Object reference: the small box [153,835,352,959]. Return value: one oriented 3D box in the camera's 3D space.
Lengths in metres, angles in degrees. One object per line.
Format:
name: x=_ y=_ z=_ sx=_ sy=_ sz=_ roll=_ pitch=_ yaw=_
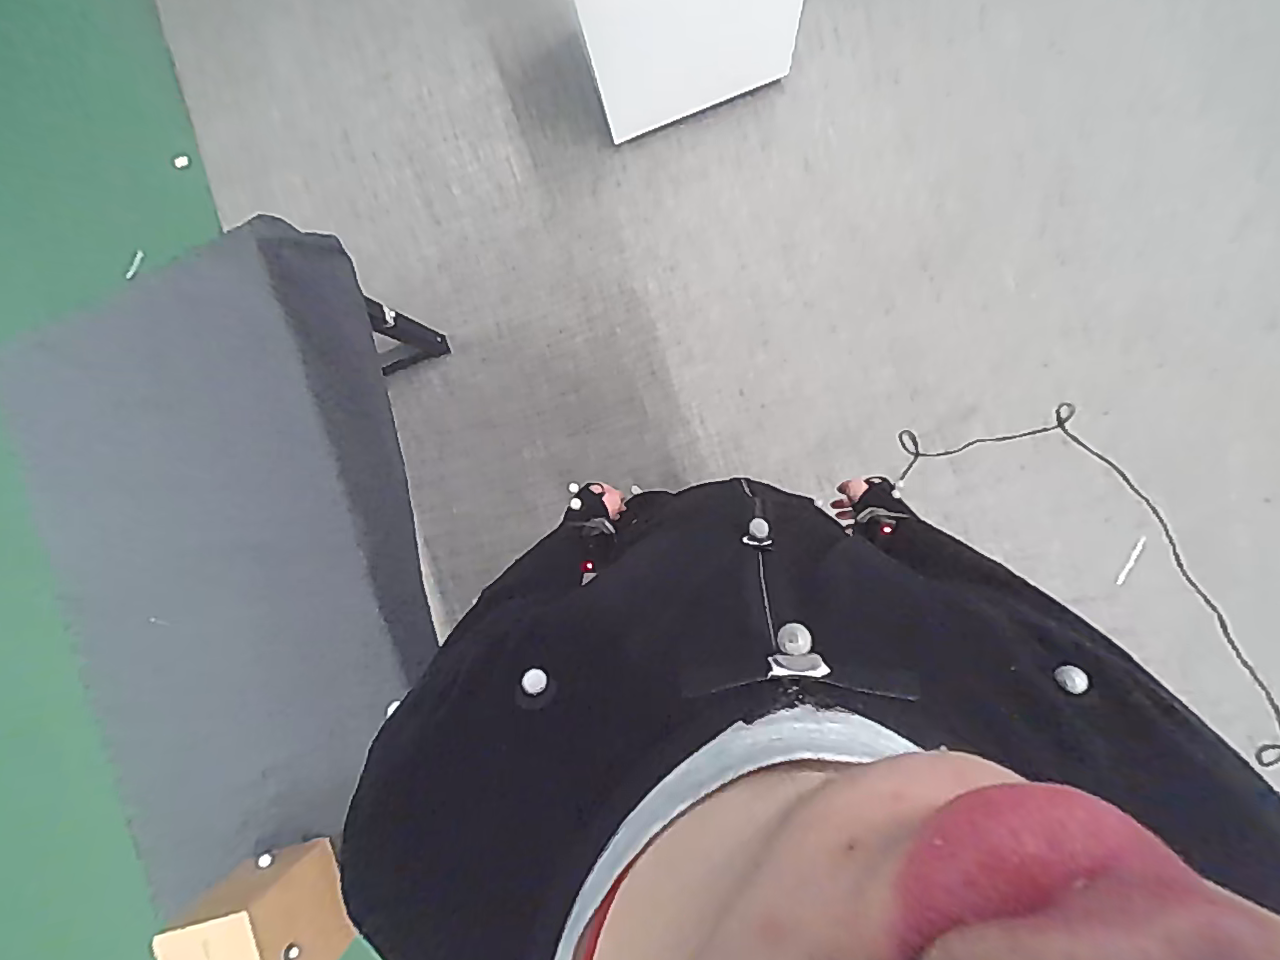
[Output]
small box: x=-0.594 y=0.712 z=0.852 sx=0.168 sy=0.176 sz=0.179 roll=-19 pitch=88 yaw=6
